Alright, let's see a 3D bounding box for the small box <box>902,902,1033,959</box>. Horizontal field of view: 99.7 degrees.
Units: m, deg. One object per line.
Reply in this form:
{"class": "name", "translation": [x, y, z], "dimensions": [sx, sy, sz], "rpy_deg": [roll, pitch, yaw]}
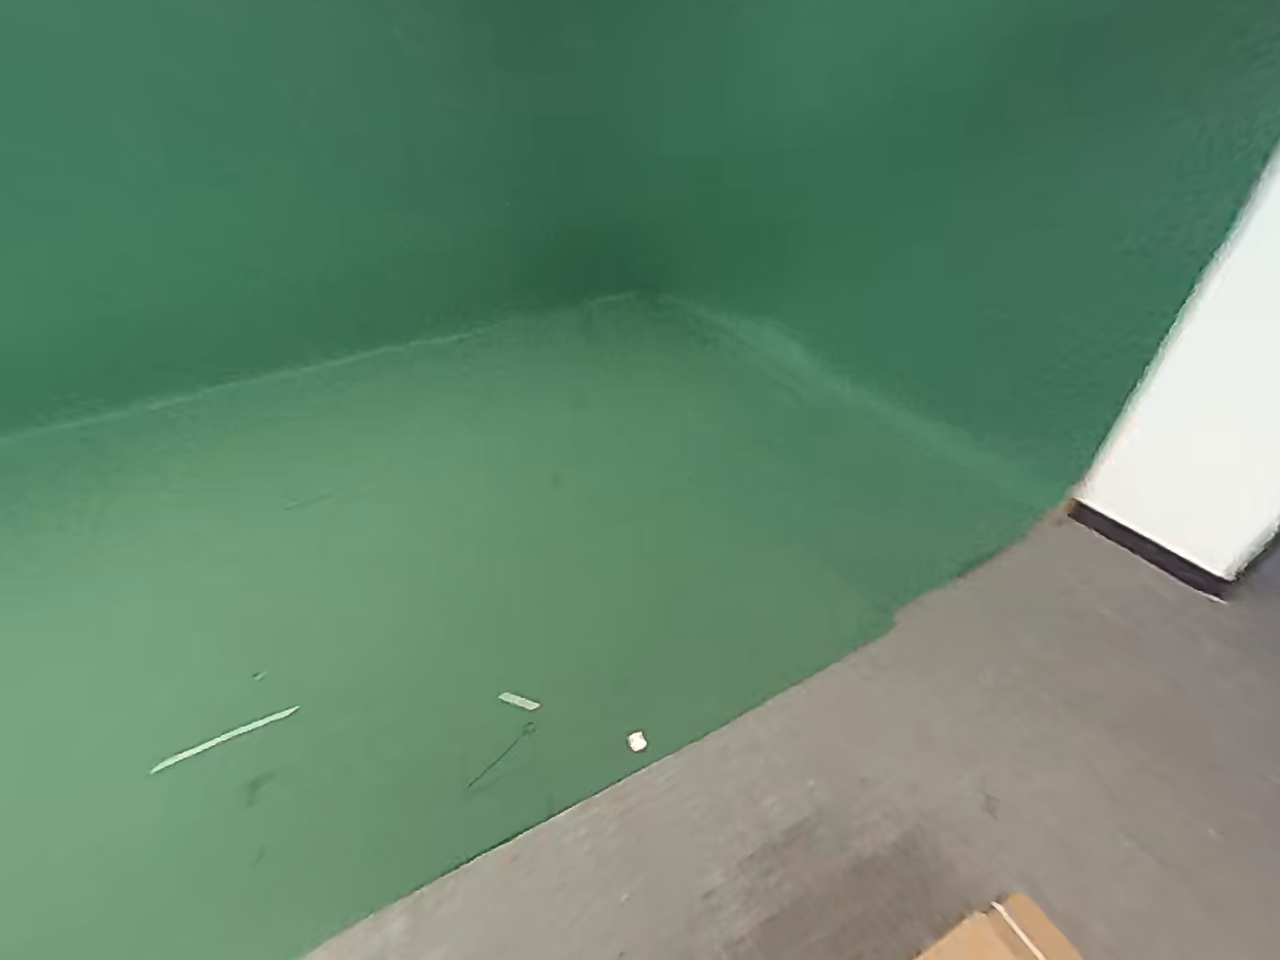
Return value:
{"class": "small box", "translation": [0.484, 0.769, 0.786], "dimensions": [0.179, 0.176, 0.168], "rpy_deg": [-18, 41, -19]}
